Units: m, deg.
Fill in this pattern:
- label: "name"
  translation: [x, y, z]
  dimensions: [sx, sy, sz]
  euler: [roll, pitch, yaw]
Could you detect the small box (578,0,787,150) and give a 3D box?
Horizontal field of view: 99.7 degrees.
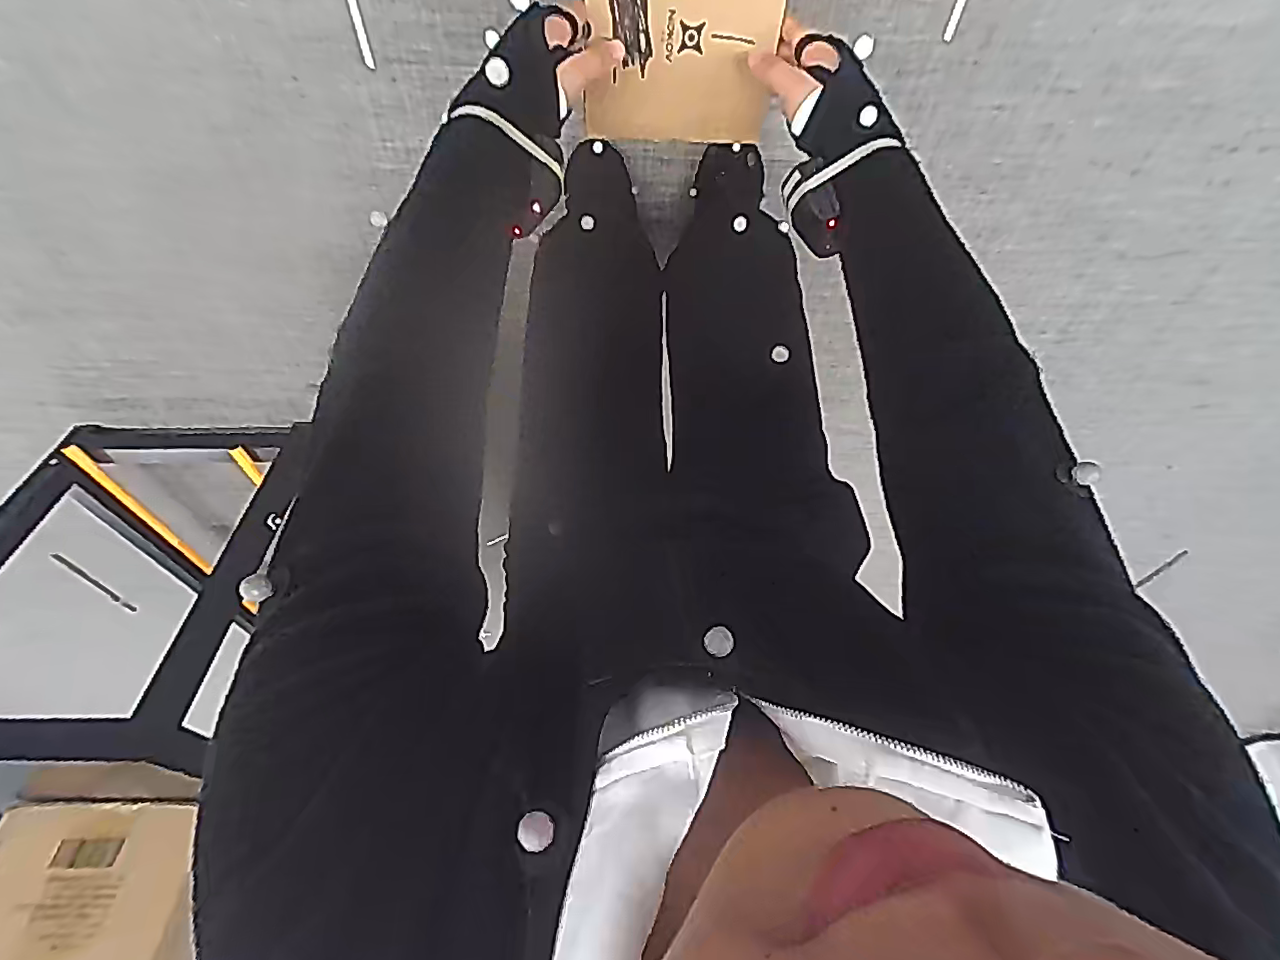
- label: "small box"
  translation: [0.031, -0.440, 0.518]
  dimensions: [0.179, 0.176, 0.168]
  euler: [0, 139, -5]
